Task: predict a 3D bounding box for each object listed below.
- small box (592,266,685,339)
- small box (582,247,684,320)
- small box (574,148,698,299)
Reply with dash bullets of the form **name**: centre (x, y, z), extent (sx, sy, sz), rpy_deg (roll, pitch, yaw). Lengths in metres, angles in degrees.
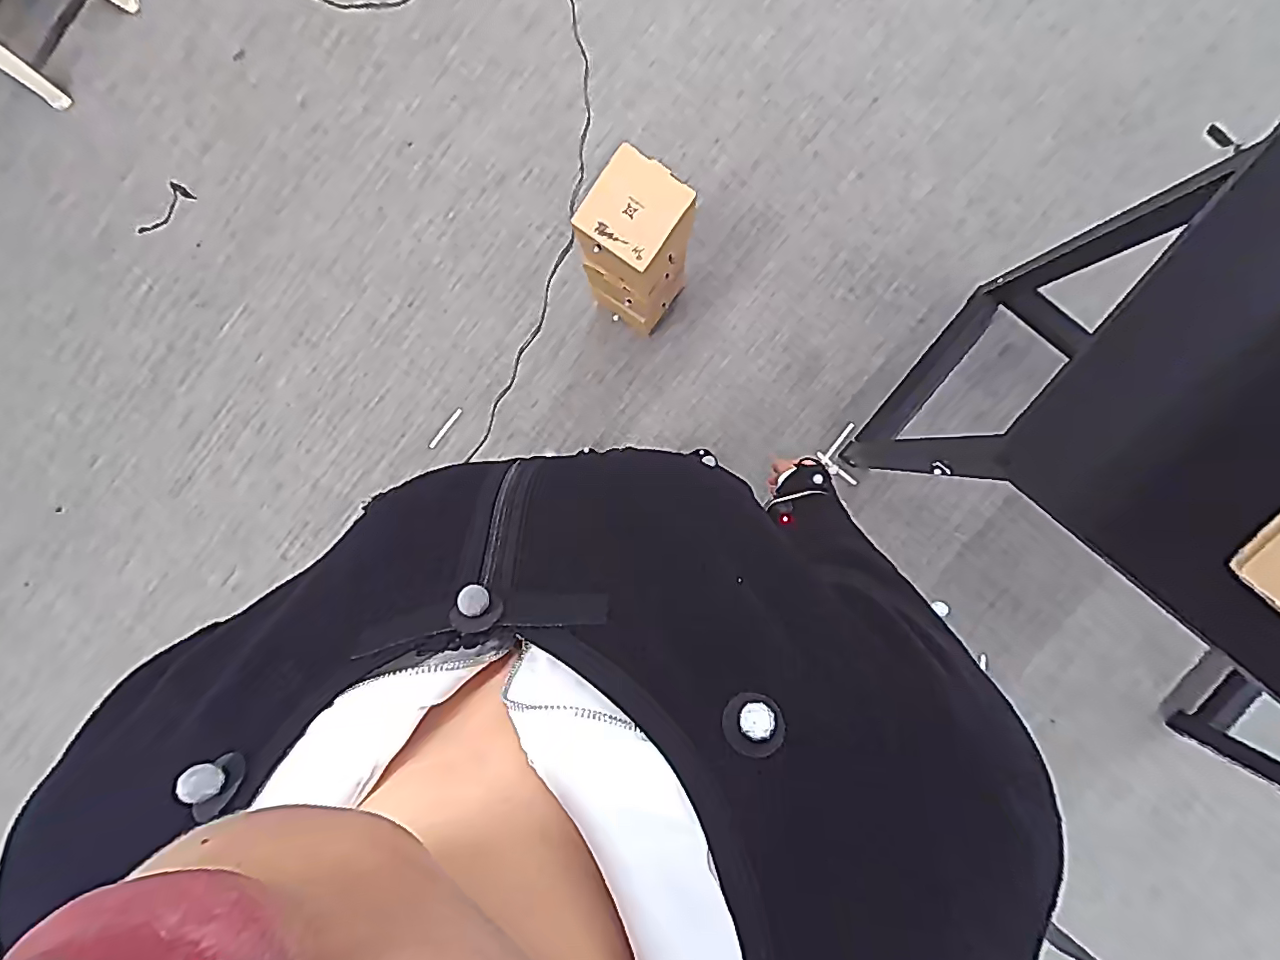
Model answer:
- **small box**: centre (-0.002, -0.493, 1.393), extent (0.168, 0.176, 0.179), rpy_deg (36, 94, 1)
- **small box**: centre (-0.008, -0.492, 1.231), extent (0.168, 0.176, 0.179), rpy_deg (32, 92, 0)
- **small box**: centre (-0.008, -0.493, 1.066), extent (0.168, 0.176, 0.179), rpy_deg (35, 93, 1)
